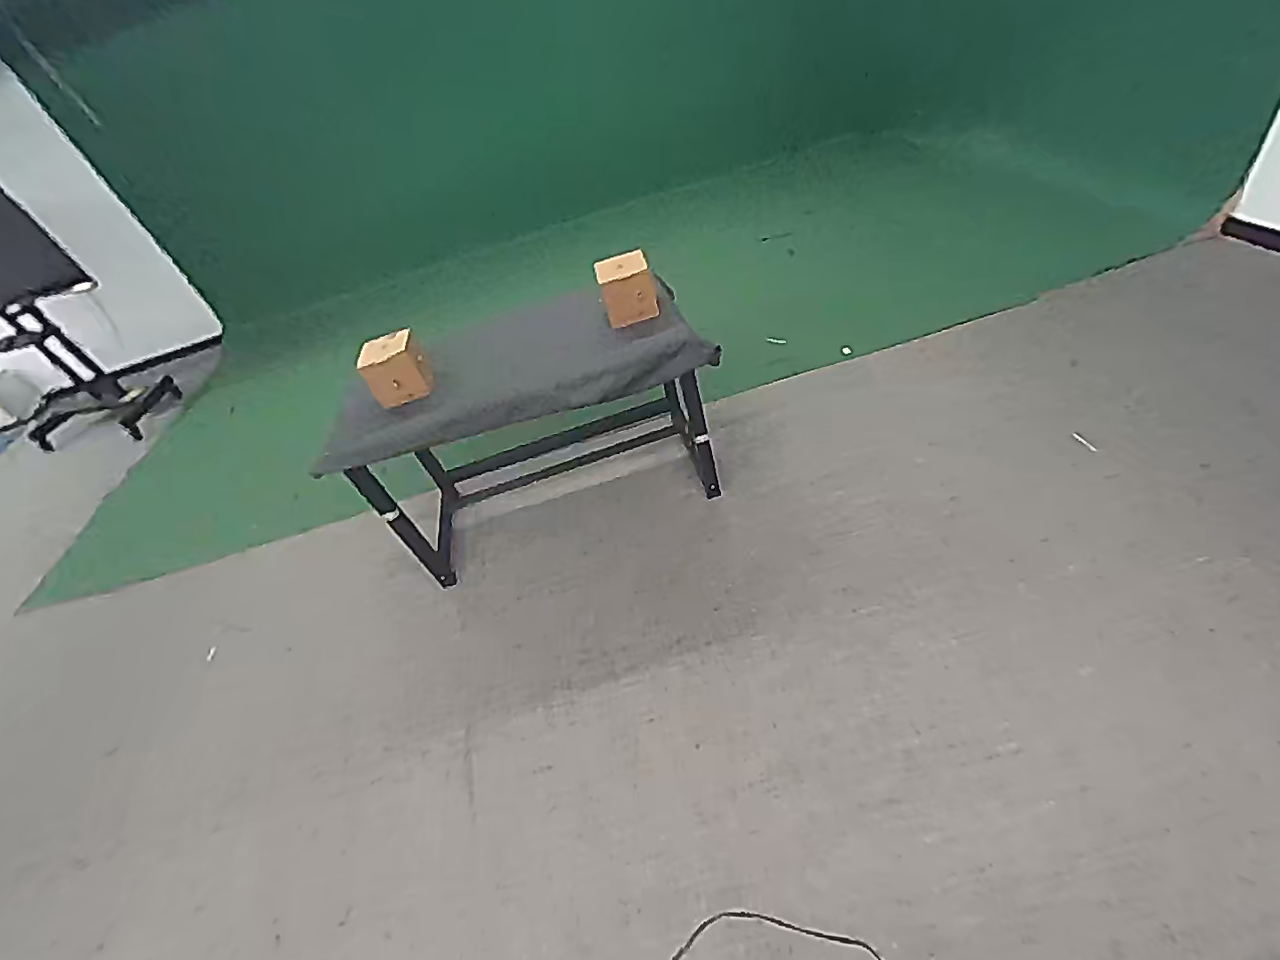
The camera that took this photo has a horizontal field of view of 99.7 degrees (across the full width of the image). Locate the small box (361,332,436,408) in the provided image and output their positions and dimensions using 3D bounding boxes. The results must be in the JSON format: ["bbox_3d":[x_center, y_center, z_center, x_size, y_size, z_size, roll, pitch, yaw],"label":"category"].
[{"bbox_3d":[-0.803,-0.362,1.817,0.168,0.176,0.179,-19,43,-1],"label":"small box"}]

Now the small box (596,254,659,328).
[{"bbox_3d":[-0.040,-0.628,1.817,0.168,0.176,0.179,-16,42,2],"label":"small box"}]
